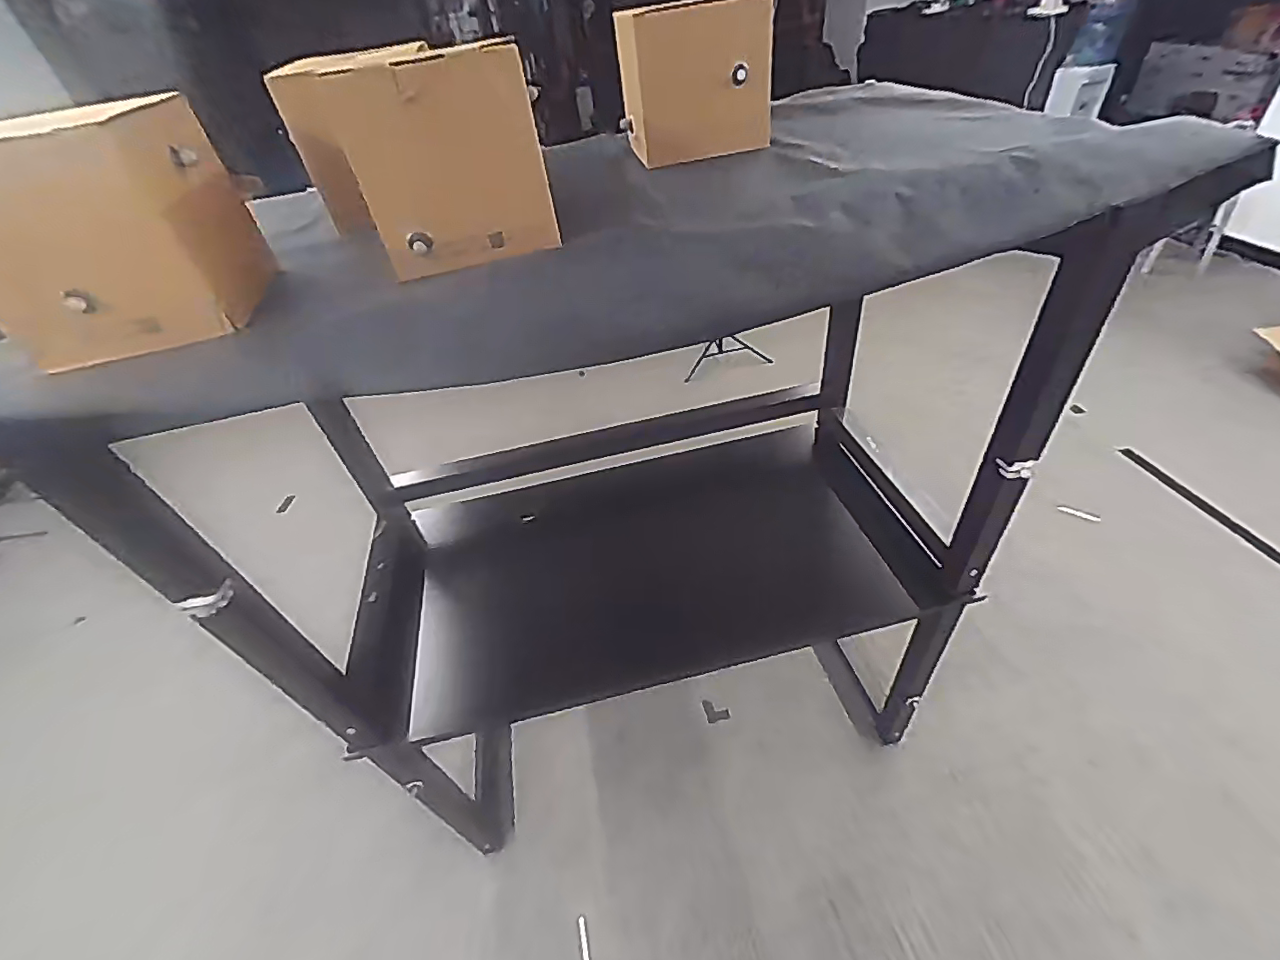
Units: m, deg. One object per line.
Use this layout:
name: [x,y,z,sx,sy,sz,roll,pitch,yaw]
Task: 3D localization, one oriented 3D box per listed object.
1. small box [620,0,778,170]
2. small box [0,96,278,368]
small box: [0.076,-0.550,0.749,0.179,0.176,0.168,-11,41,-3]
small box: [-0.467,-0.226,0.490,0.168,0.176,0.179,-15,43,-7]
